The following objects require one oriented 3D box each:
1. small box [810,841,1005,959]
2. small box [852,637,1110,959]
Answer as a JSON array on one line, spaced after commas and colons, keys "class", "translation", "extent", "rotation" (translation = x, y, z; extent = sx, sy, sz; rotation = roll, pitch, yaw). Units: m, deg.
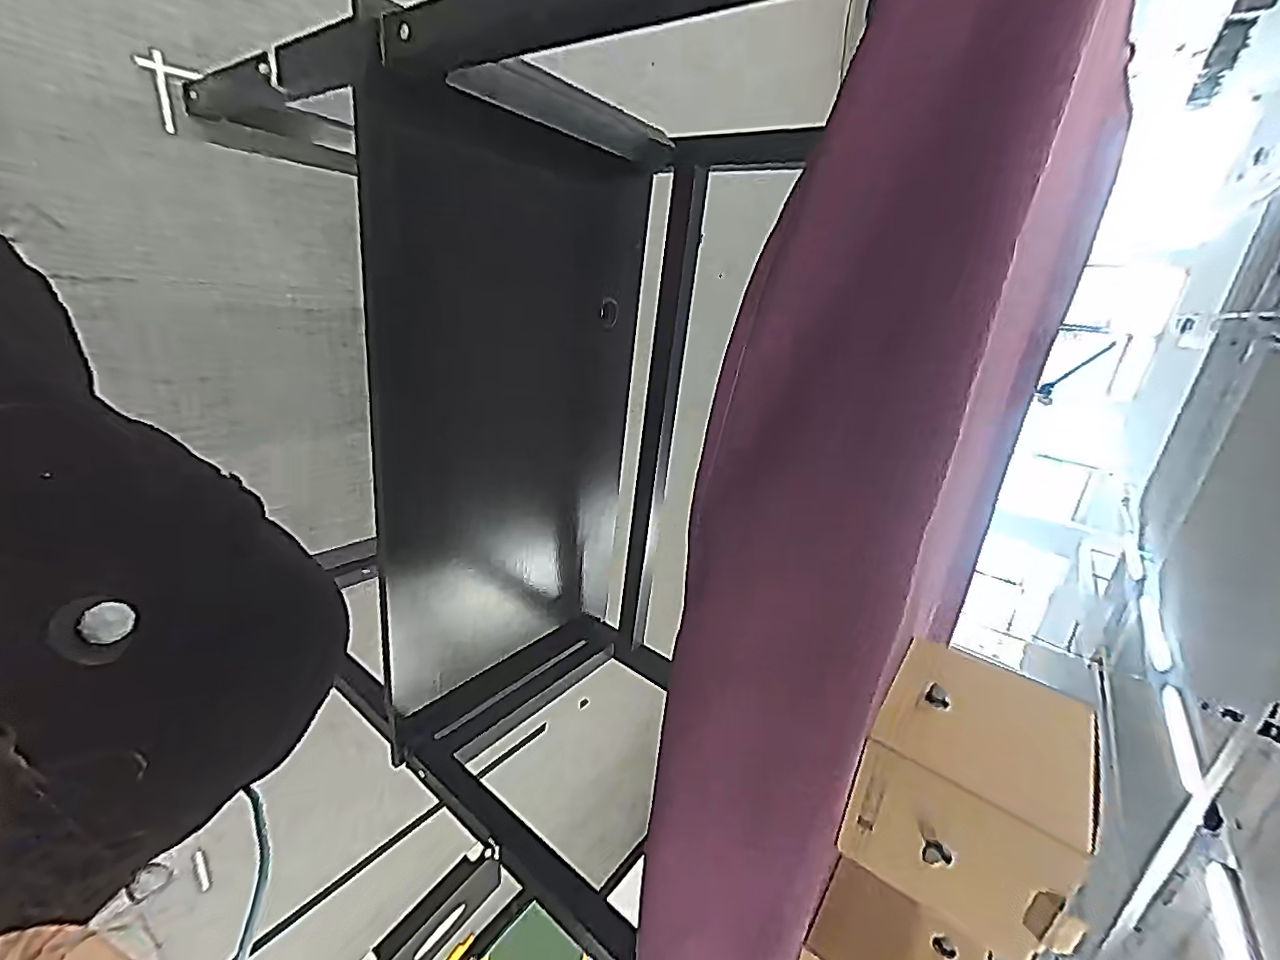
[{"class": "small box", "translation": [0.301, 0.573, 0.633], "extent": [0.179, 0.176, 0.168], "rotation": [-22, 123, -50]}, {"class": "small box", "translation": [0.328, 0.293, 0.535], "extent": [0.179, 0.176, 0.168], "rotation": [-28, 128, -46]}]
